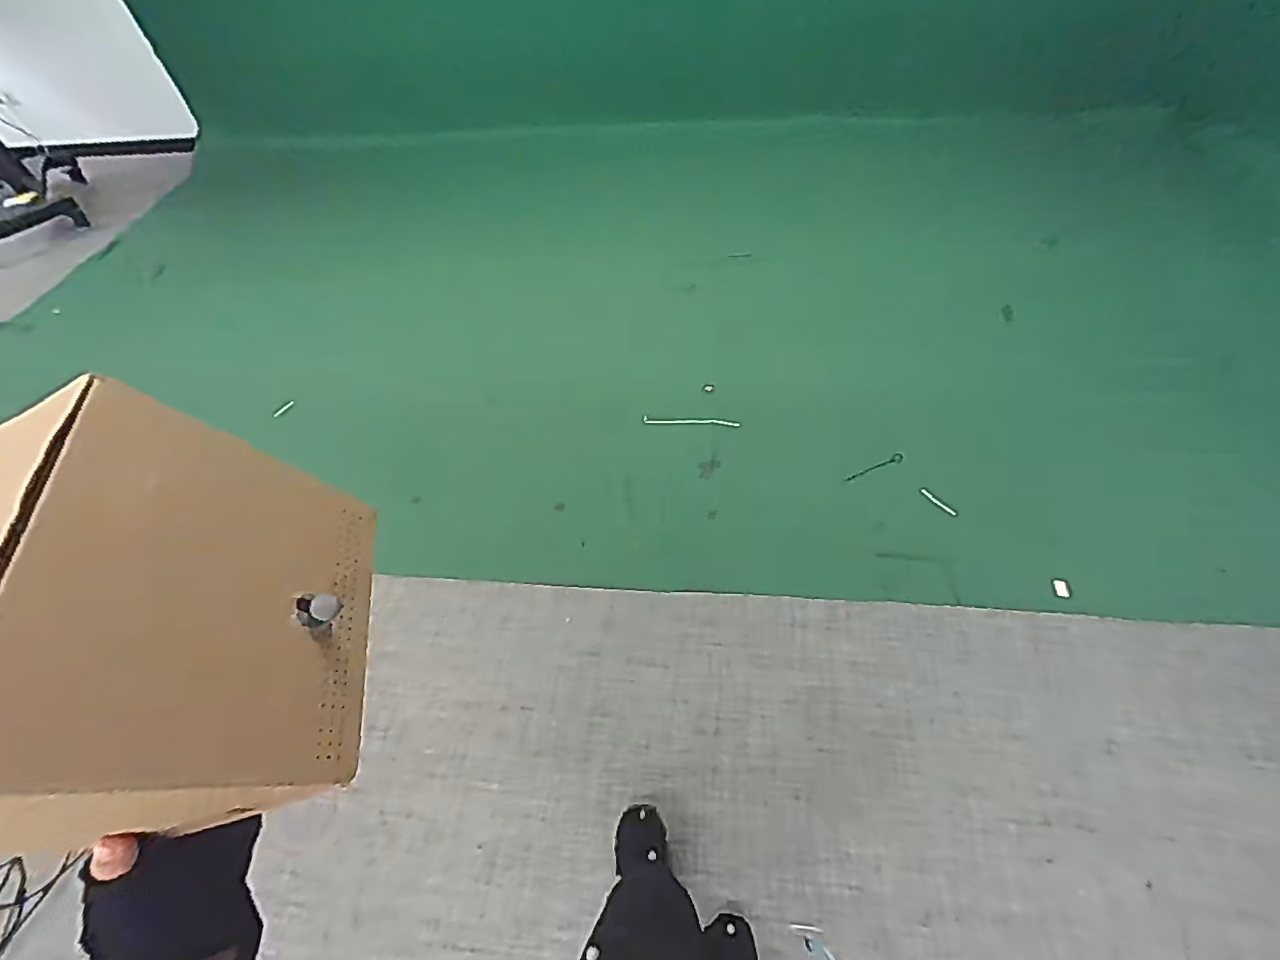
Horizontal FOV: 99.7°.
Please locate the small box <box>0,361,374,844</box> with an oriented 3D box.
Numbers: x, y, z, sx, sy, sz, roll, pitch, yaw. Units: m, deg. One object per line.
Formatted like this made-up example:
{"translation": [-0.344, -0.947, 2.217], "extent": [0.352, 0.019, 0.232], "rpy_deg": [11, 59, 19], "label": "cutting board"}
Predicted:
{"translation": [-0.268, 0.078, 0.283], "extent": [0.168, 0.176, 0.179], "rpy_deg": [-21, 58, 14], "label": "small box"}
